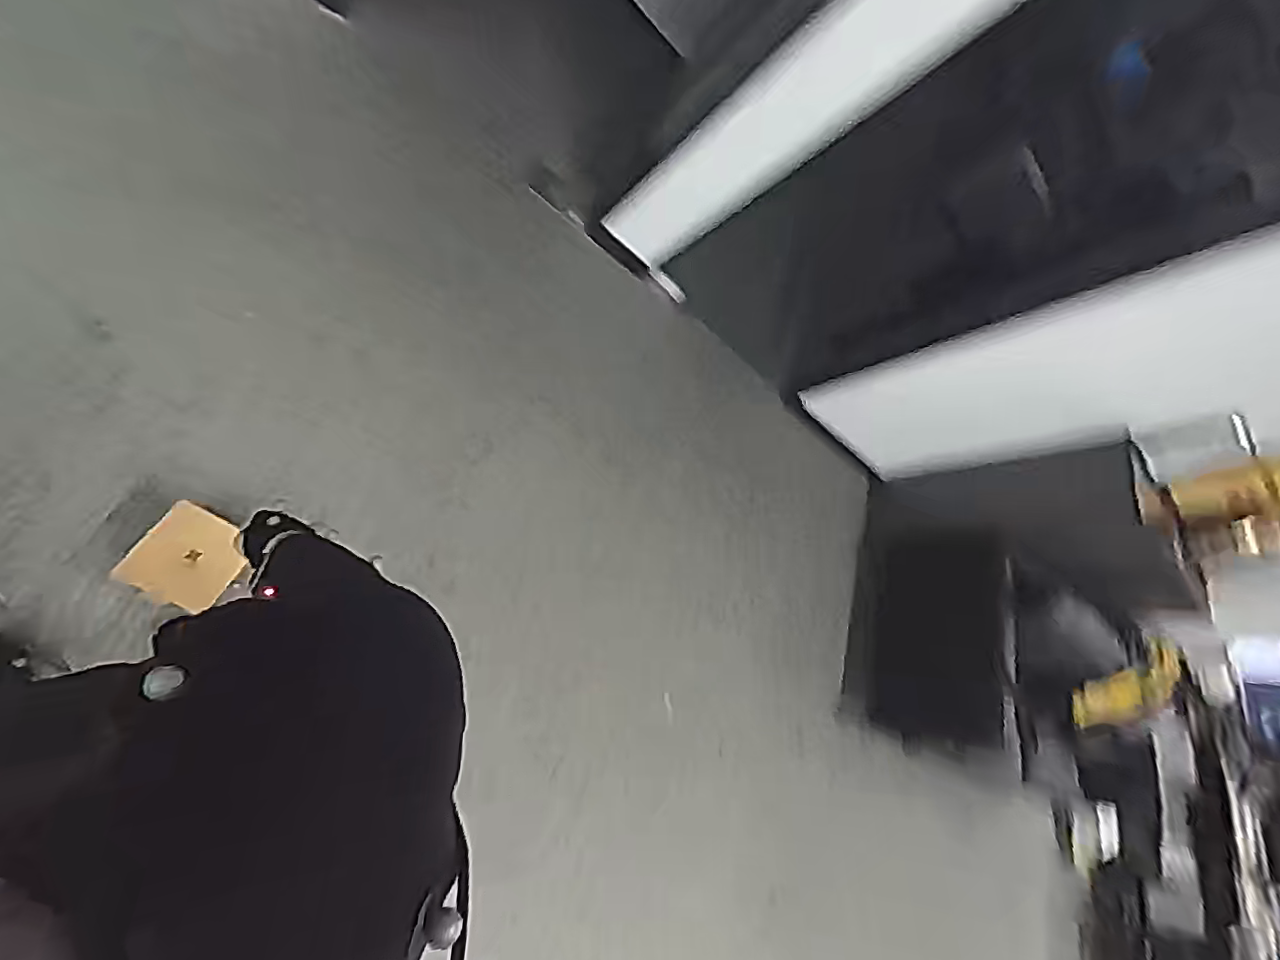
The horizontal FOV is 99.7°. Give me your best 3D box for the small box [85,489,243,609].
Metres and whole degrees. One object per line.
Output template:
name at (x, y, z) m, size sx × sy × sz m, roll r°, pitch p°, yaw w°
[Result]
small box at (-0.955, 0.144, 1.094) m, size 0.168 × 0.176 × 0.179 m, roll 42°, pitch 57°, yaw -26°
